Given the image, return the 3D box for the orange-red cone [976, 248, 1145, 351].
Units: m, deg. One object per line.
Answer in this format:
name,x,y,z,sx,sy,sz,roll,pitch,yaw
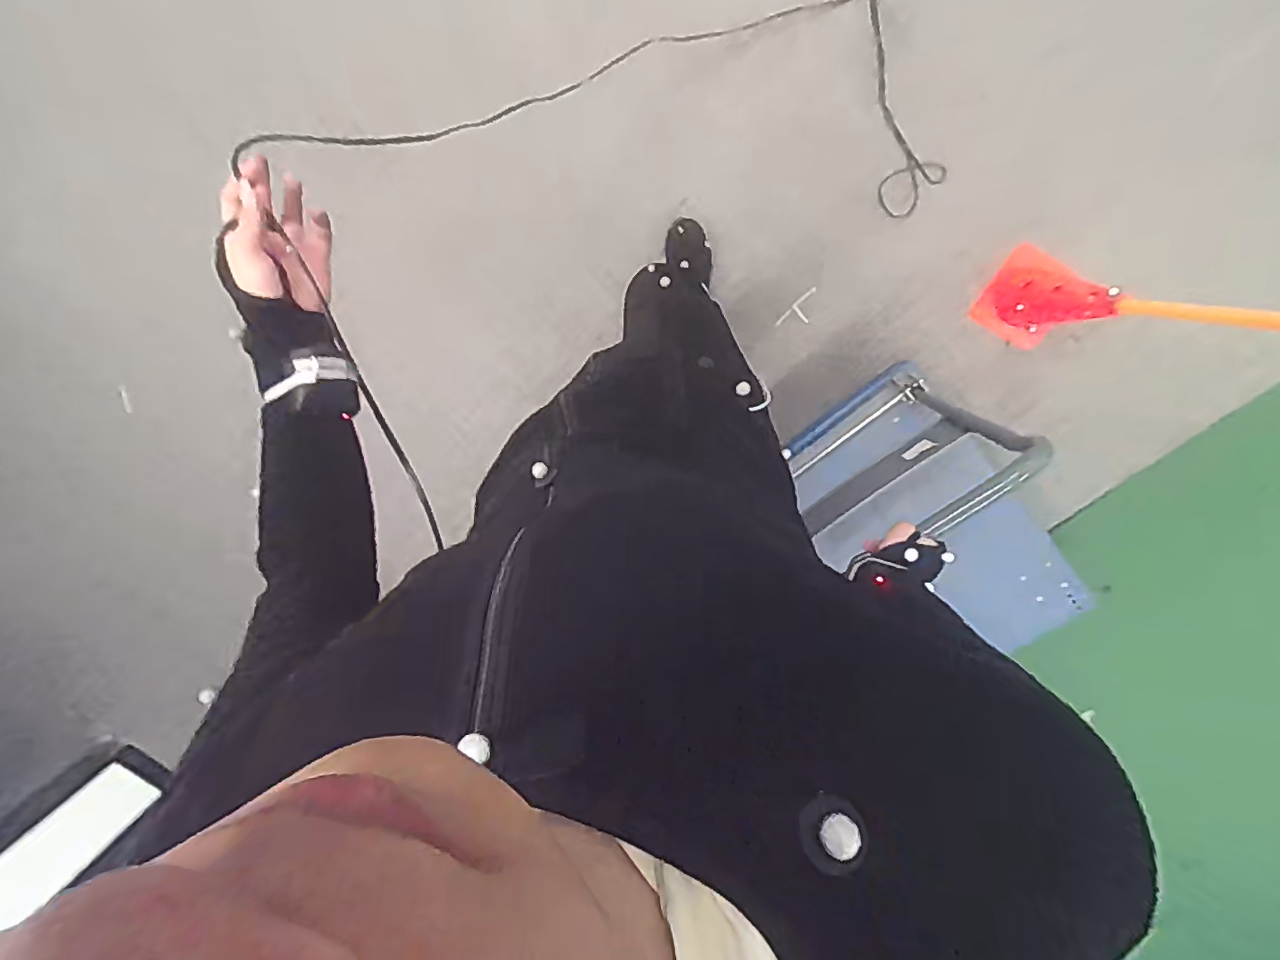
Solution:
orange-red cone,0.966,-0.394,1.202,0.198,0.360,0.199,30,110,-6
